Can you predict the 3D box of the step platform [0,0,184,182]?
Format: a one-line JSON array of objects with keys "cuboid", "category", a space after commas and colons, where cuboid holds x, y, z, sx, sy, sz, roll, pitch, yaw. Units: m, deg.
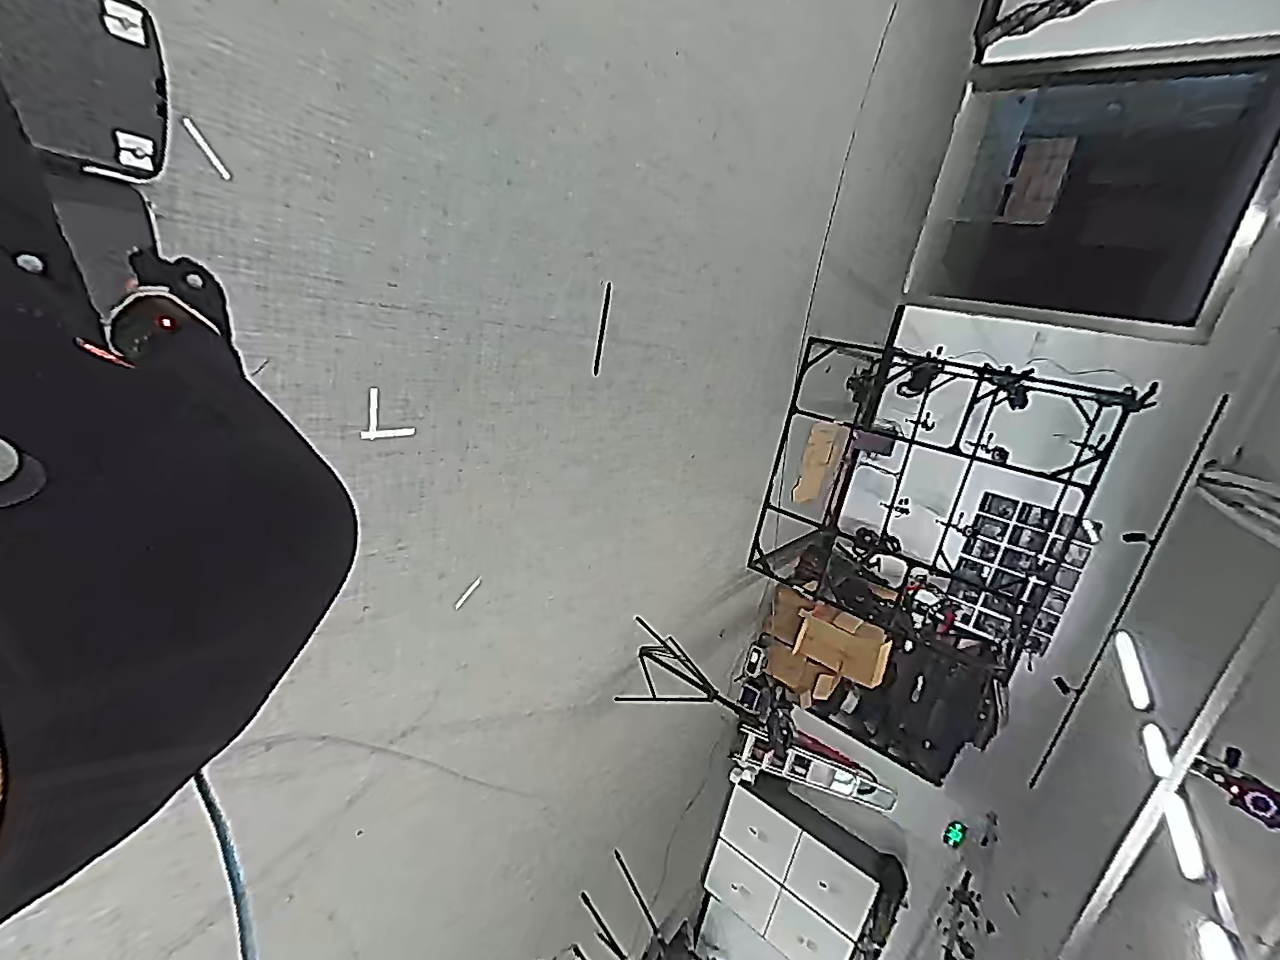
[{"cuboid": [-1.105, -0.679, 0.779, 0.684, 0.204, 0.286, -13, 119, -53], "category": "step platform"}]
